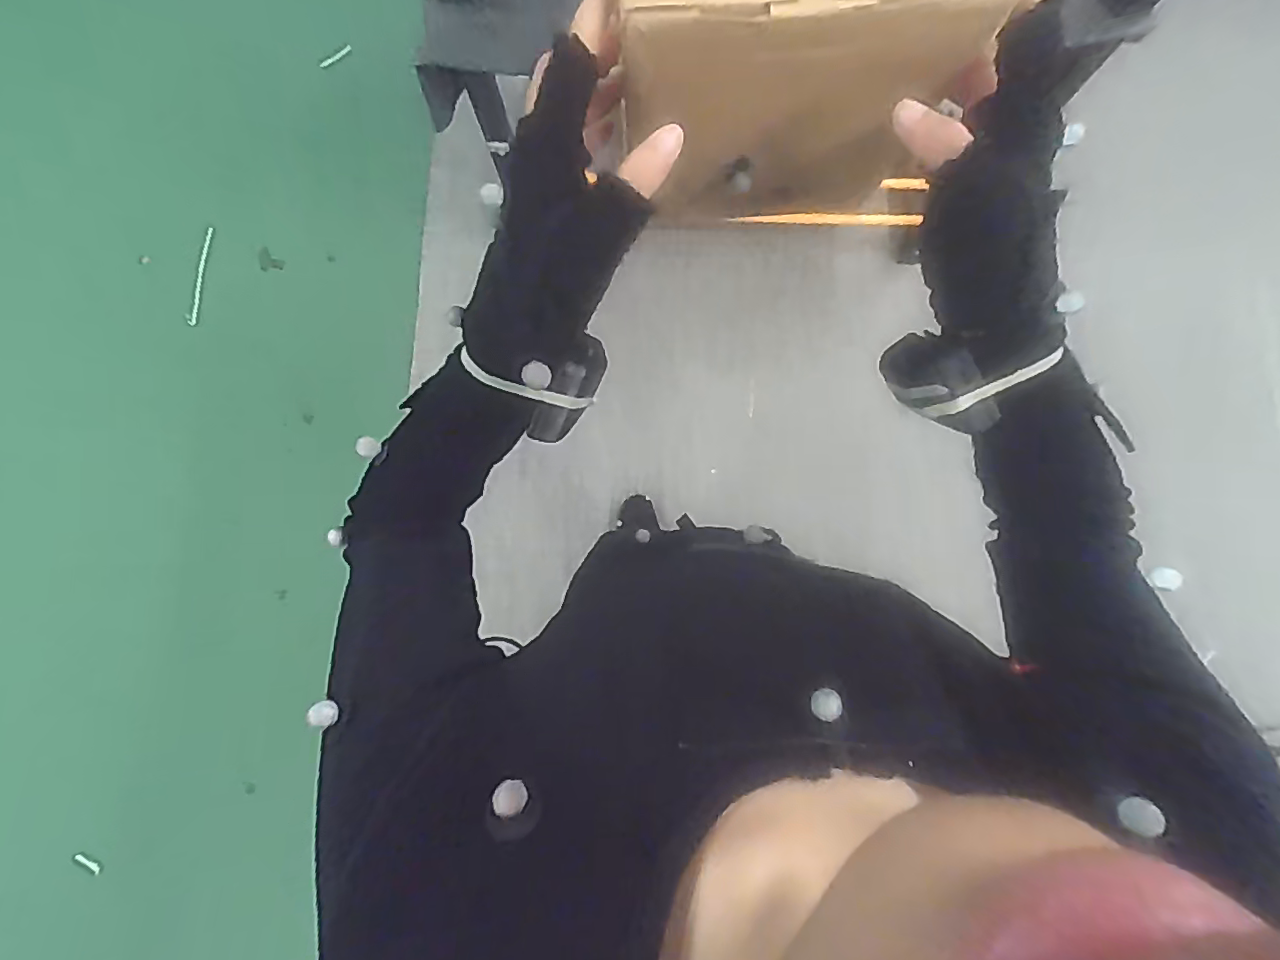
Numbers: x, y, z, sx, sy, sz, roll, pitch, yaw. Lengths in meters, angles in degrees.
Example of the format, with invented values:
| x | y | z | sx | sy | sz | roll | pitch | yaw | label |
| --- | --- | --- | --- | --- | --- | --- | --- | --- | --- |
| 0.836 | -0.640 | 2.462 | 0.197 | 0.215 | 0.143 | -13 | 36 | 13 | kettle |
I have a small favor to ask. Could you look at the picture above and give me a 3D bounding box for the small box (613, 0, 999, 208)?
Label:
| x | y | z | sx | sy | sz | roll | pitch | yaw | label |
| --- | --- | --- | --- | --- | --- | --- | --- | --- | --- |
| 0.067 | -0.281 | 0.297 | 0.168 | 0.176 | 0.179 | -3 | 88 | 0 | small box |
